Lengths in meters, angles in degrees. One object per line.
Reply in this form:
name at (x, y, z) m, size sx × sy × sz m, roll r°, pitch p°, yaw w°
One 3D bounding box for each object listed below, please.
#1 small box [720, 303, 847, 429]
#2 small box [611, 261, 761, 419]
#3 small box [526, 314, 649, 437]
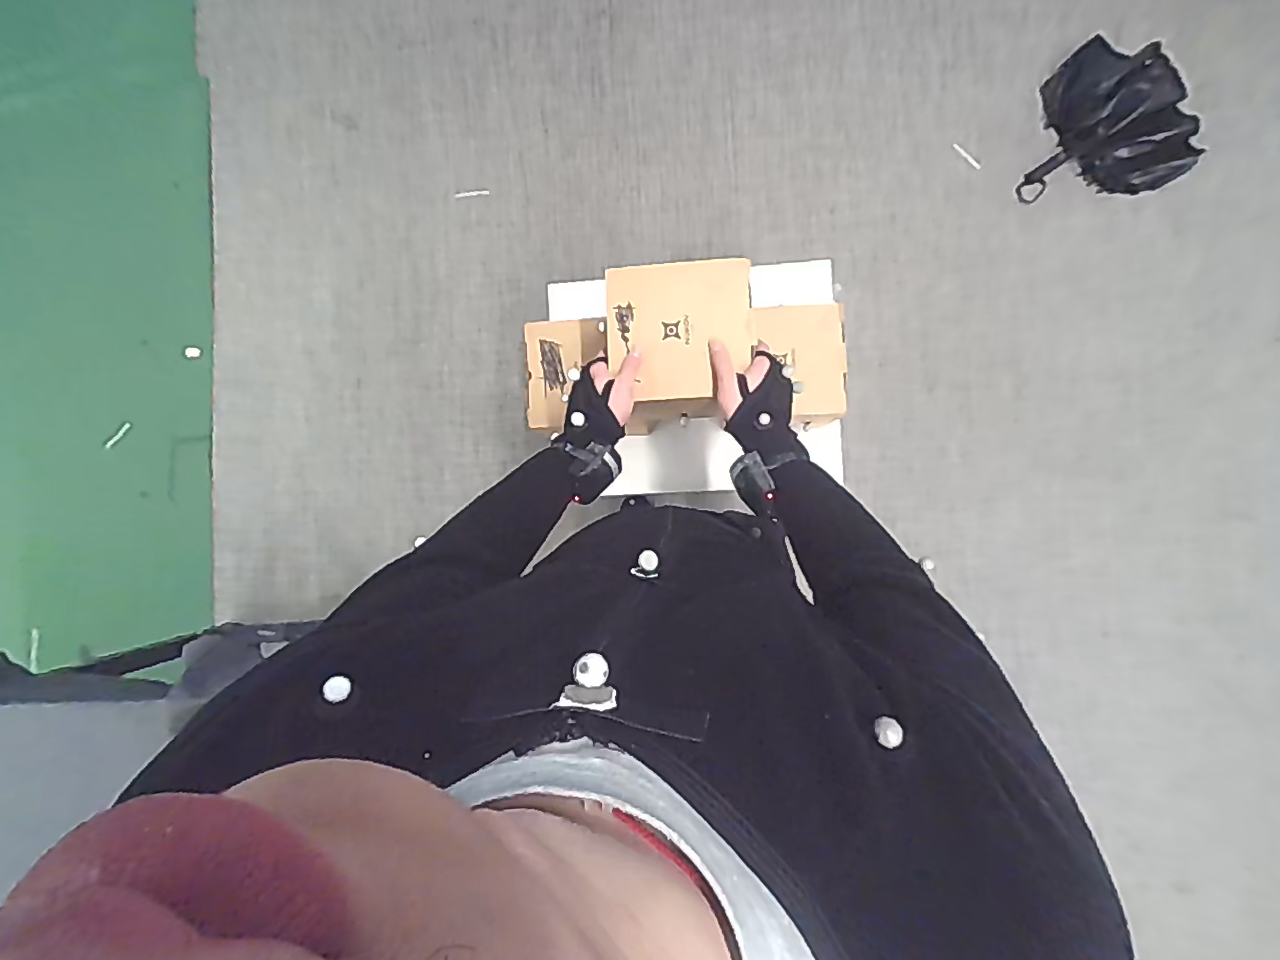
small box at (0.219, -0.173, 0.867) m, size 0.179 × 0.176 × 0.168 m, roll -1°, pitch 89°, yaw 6°
small box at (0.059, -0.174, 0.719) m, size 0.179 × 0.176 × 0.168 m, roll -2°, pitch 89°, yaw 4°
small box at (-0.079, -0.163, 0.892) m, size 0.179 × 0.176 × 0.168 m, roll -3°, pitch 89°, yaw 3°
